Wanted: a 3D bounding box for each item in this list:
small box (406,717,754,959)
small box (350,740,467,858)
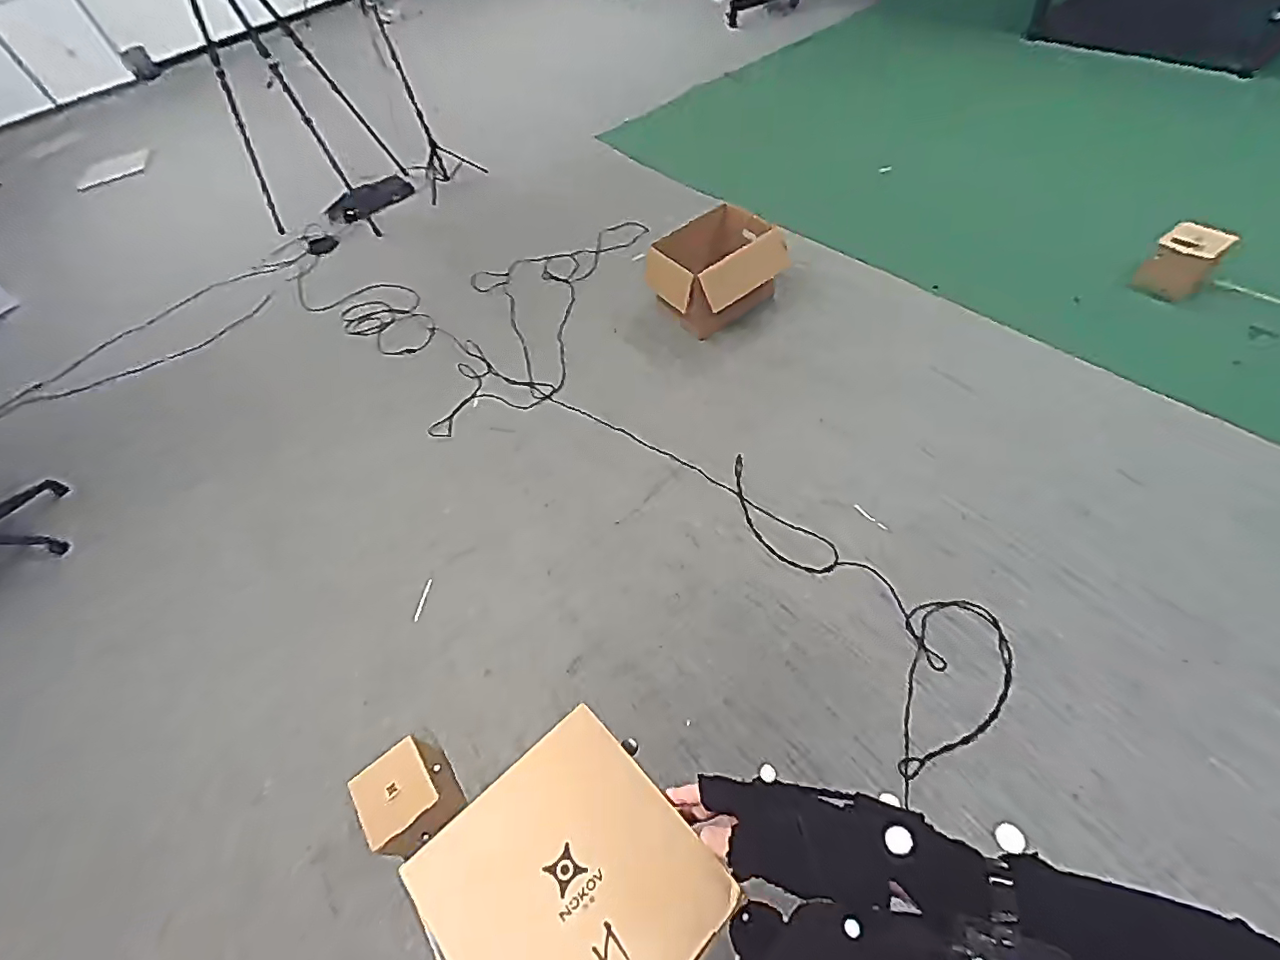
[{"bbox_3d":[-0.044,0.328,0.418,0.168,0.176,0.179,-35,61,-26],"label":"small box"},{"bbox_3d":[-0.540,0.757,1.276,0.168,0.176,0.179,-36,56,-16],"label":"small box"}]
